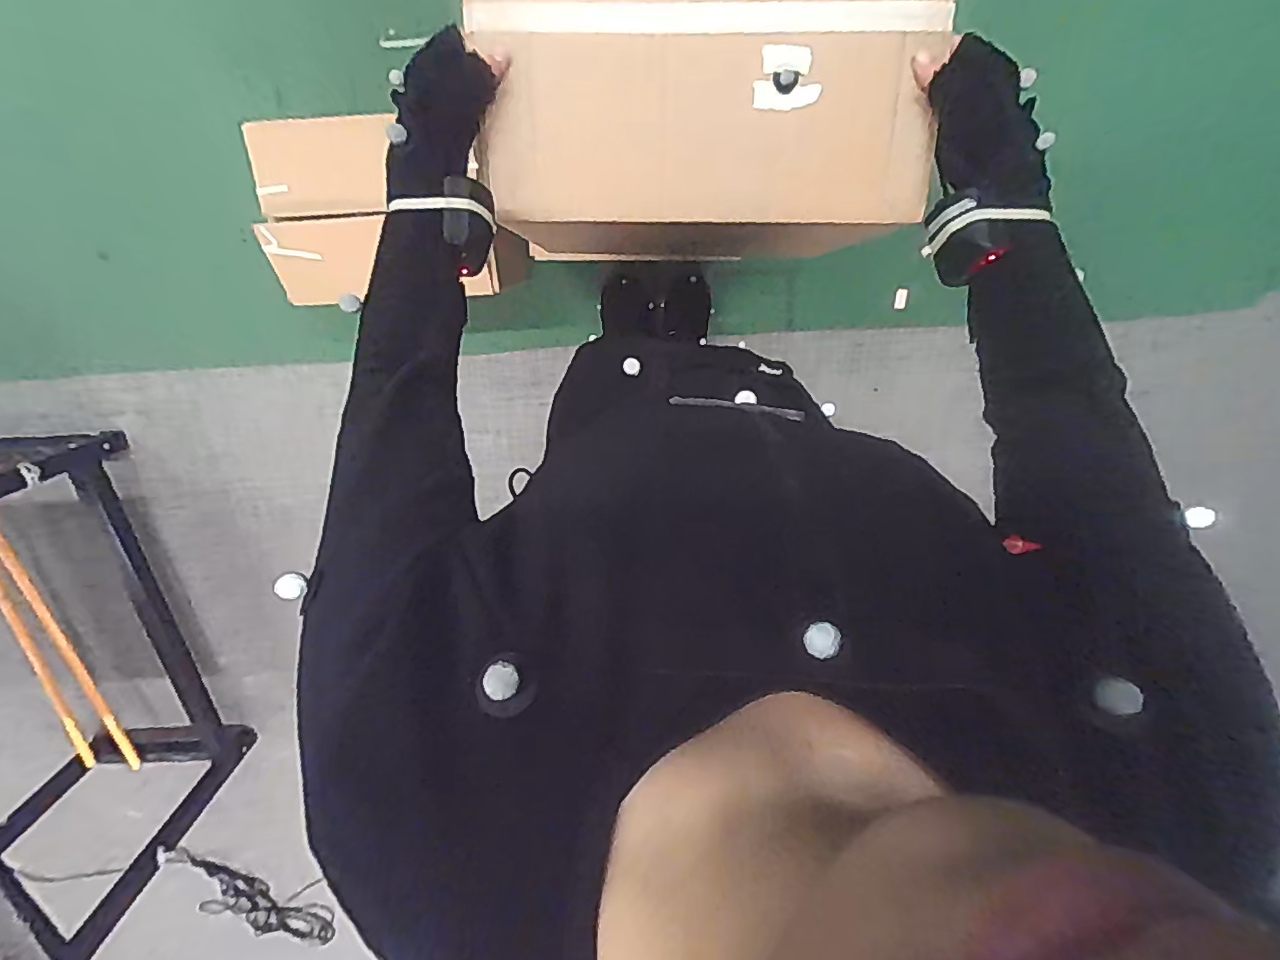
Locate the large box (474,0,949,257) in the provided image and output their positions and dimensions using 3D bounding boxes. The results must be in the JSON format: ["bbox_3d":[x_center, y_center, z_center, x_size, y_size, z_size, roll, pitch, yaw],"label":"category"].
[{"bbox_3d":[0.057,-0.431,0.594,0.408,0.320,0.320,0,108,0],"label":"large box"}]
